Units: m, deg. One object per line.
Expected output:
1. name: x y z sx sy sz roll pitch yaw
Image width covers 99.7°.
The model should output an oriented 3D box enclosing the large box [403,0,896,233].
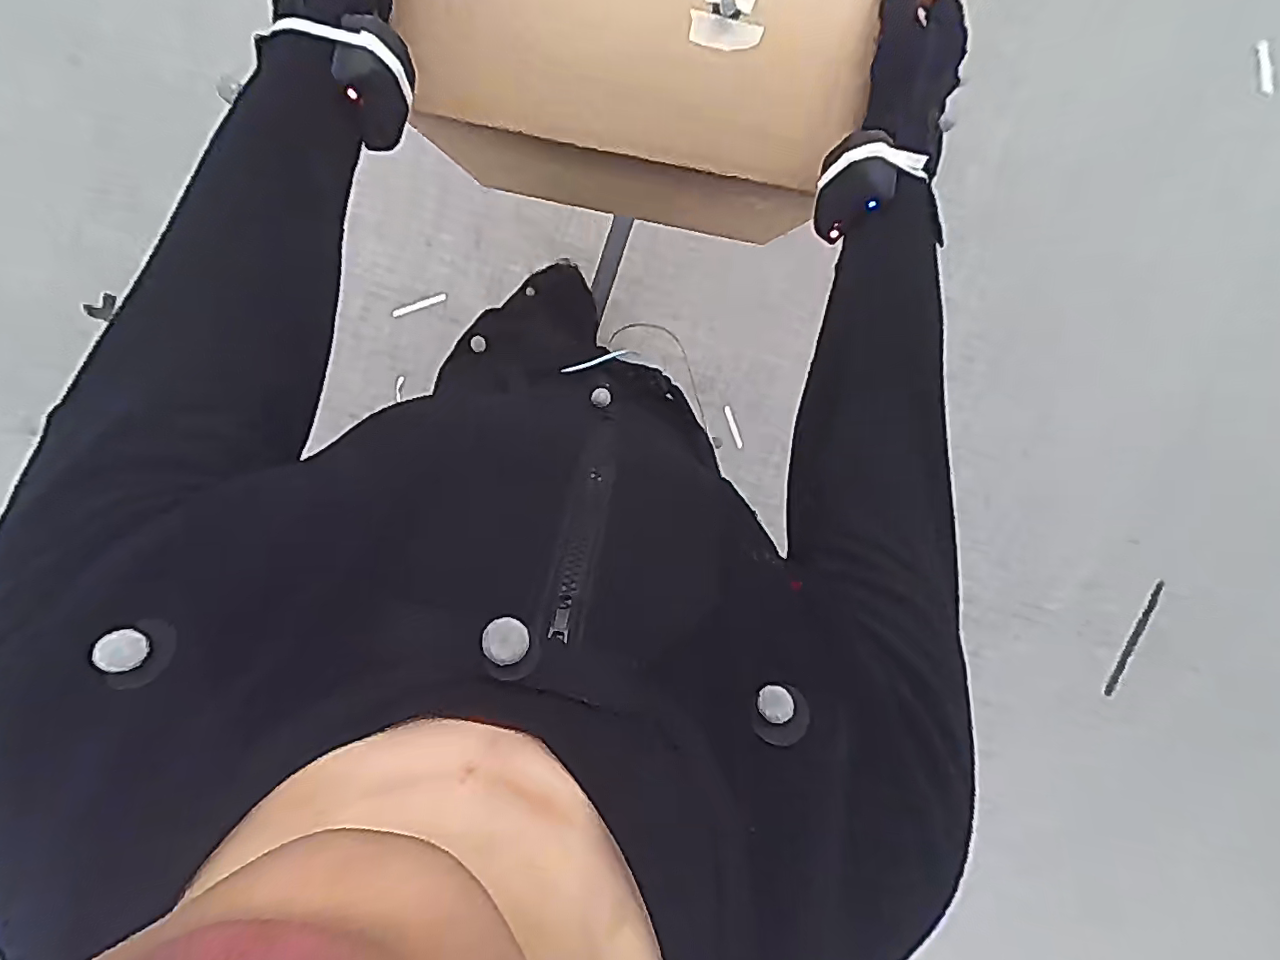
1. large box: 0.014 -0.481 0.570 0.408 0.320 0.320 10 107 -4
